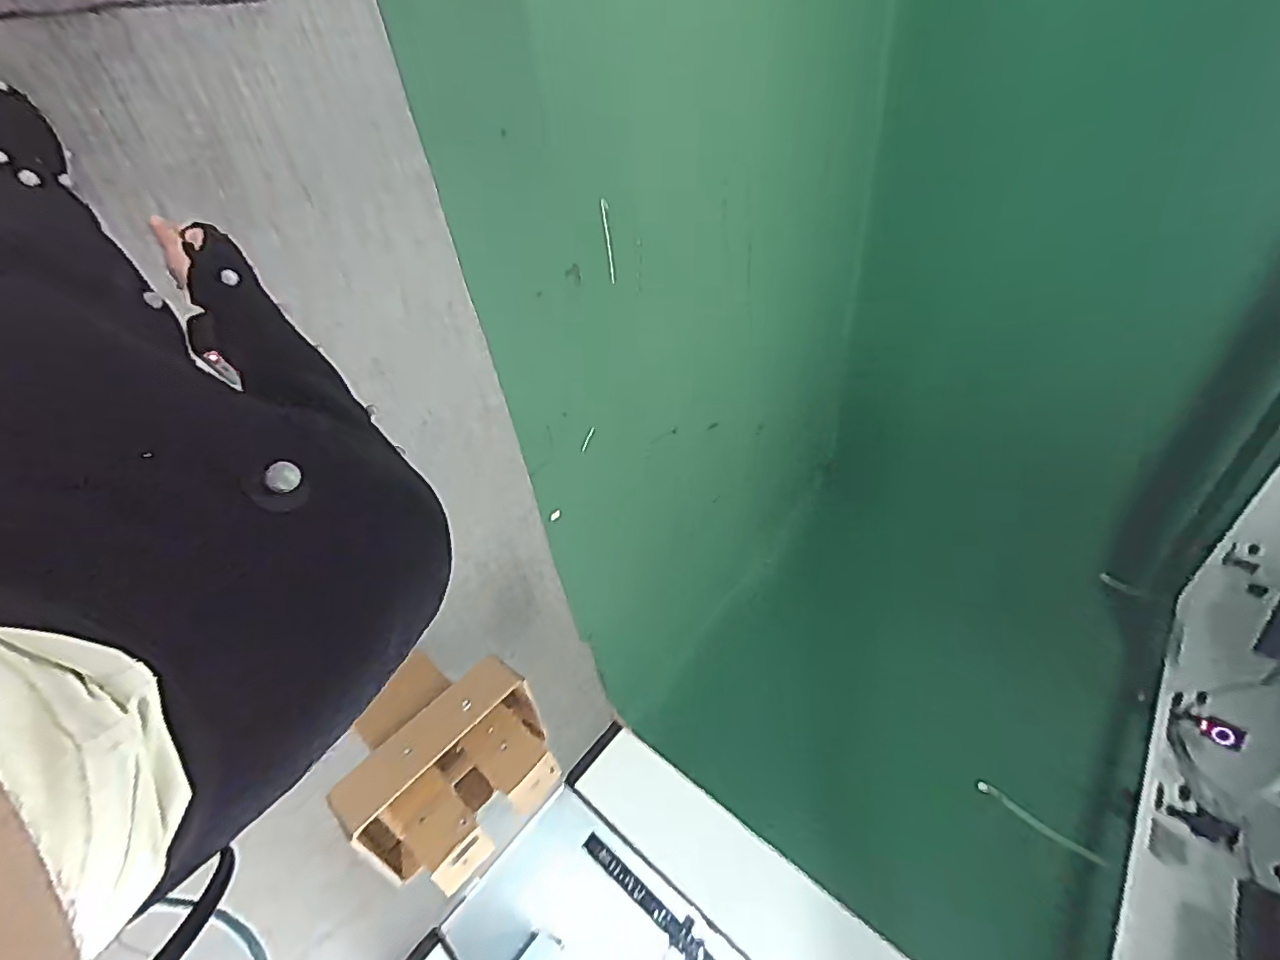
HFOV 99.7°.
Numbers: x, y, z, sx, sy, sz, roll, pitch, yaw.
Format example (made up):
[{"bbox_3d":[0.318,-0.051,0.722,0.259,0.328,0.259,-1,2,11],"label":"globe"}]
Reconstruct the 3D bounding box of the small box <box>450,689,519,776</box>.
[{"bbox_3d":[-0.514,0.856,1.849,0.179,0.176,0.168,-38,137,-31],"label":"small box"}]

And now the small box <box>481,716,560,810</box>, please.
[{"bbox_3d":[-0.393,0.913,1.753,0.179,0.176,0.168,-40,137,-31],"label":"small box"}]
